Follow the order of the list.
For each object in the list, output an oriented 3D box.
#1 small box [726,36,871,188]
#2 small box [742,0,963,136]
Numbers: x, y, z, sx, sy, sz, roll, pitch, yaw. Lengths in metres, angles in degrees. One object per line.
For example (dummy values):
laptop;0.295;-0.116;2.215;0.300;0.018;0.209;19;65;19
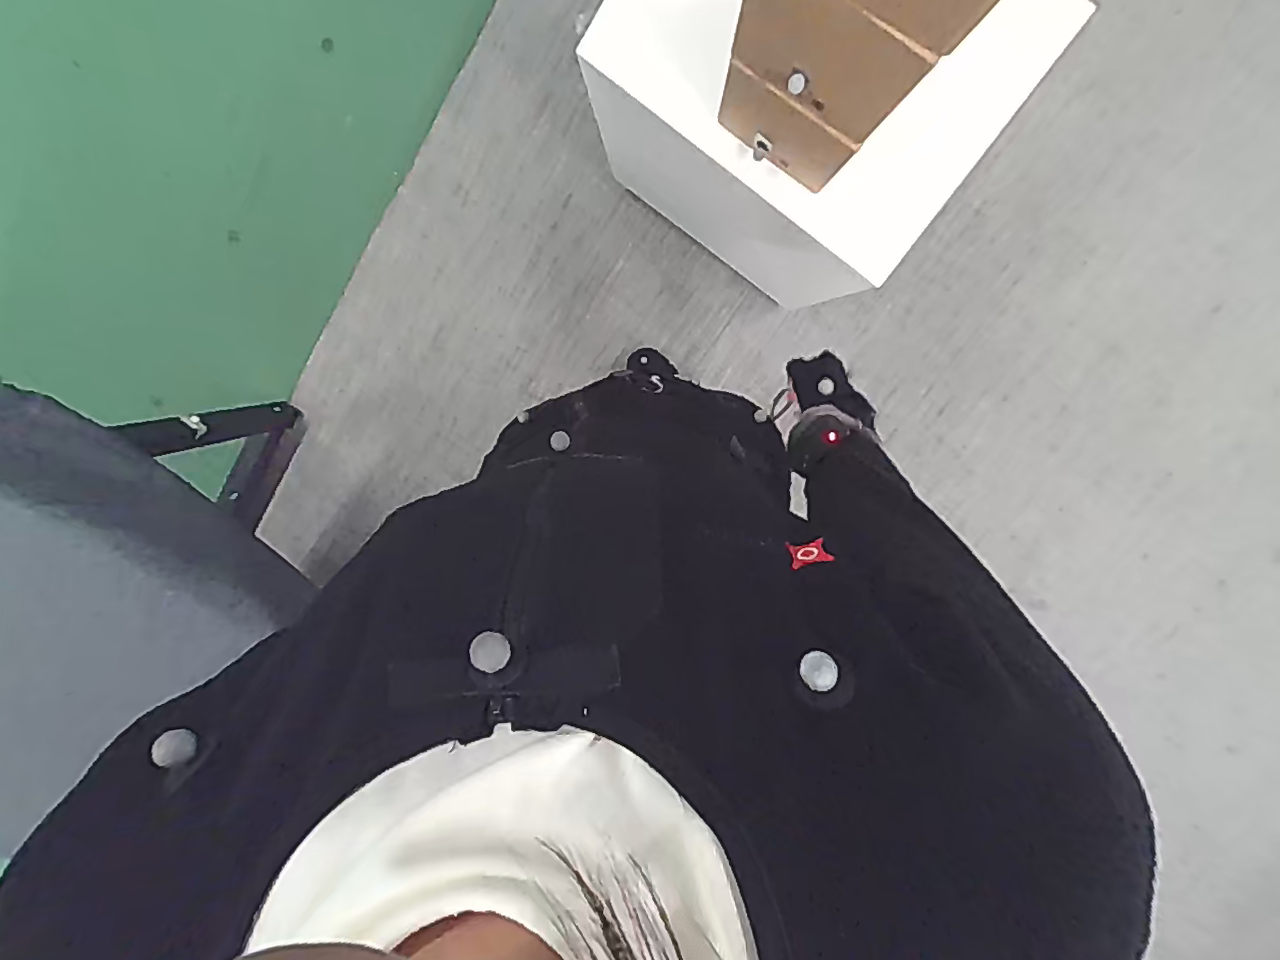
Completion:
small box;0.210;-0.472;0.609;0.168;0.176;0.179;33;105;-3
small box;0.200;-0.439;0.449;0.168;0.176;0.179;29;102;-3
